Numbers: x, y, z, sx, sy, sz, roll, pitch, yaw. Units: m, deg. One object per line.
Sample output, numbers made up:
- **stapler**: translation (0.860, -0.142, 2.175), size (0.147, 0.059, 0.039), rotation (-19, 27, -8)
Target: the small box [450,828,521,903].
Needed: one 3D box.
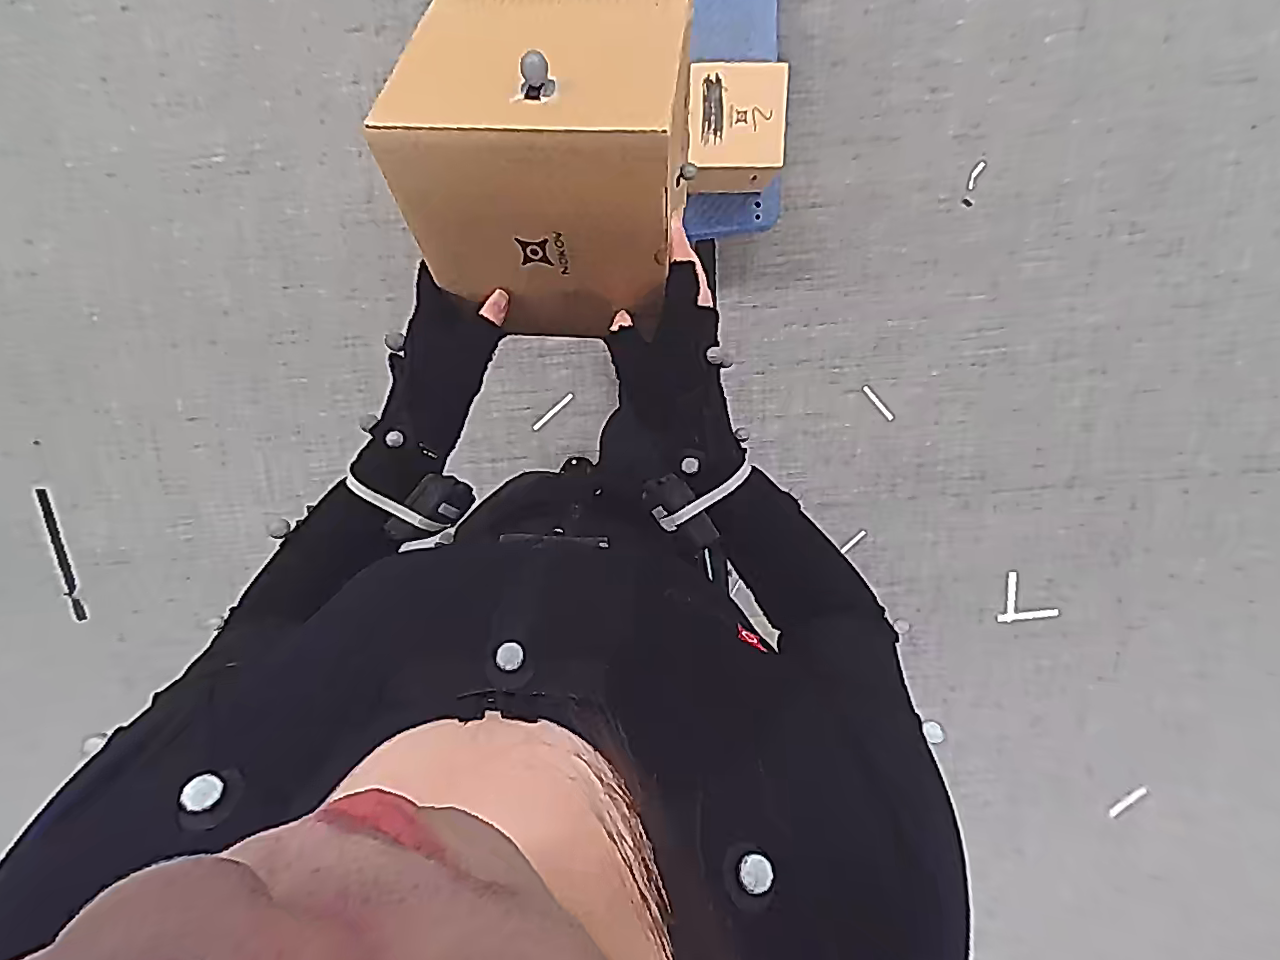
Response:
- **small box**: translation (-0.488, 1.262, 1.734), size (0.168, 0.176, 0.179), rotation (-6, 105, 2)

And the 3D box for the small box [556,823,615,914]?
- **small box**: translation (-0.168, 1.237, 1.727), size (0.168, 0.176, 0.179), rotation (-2, 104, 0)

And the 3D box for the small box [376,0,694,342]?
- **small box**: translation (-0.055, -0.227, 0.406), size (0.179, 0.168, 0.176), rotation (3, 63, 5)
